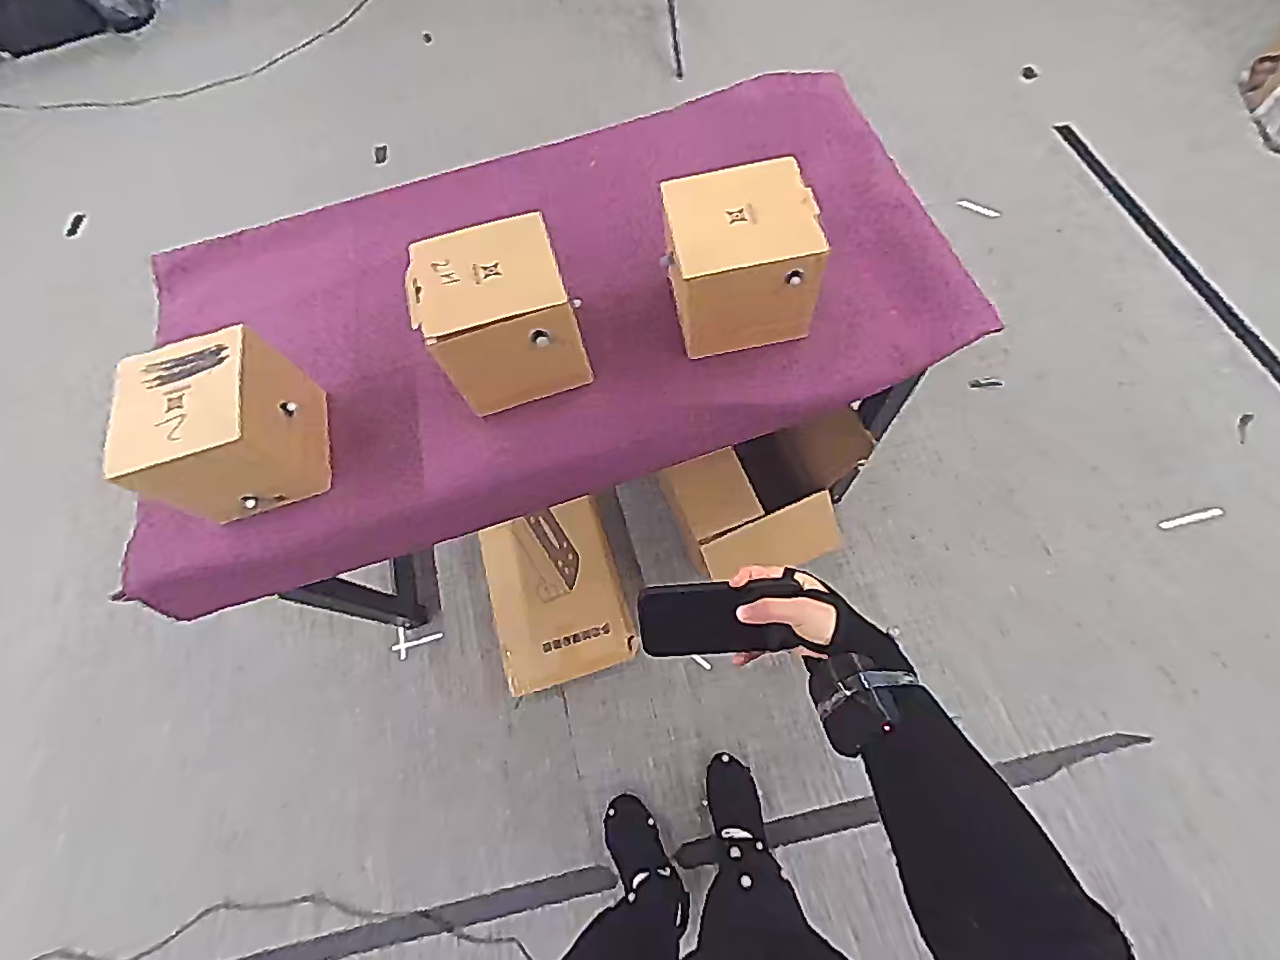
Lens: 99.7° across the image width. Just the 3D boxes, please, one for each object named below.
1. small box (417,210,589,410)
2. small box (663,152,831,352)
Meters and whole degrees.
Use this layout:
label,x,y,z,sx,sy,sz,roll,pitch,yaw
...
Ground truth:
label,x,y,z,sx,sy,sz,roll,pitch,yaw
small box,-0.175,-0.222,0.736,0.179,0.176,0.168,-18,65,-1
small box,0.135,-0.296,0.731,0.179,0.176,0.168,-11,67,2
